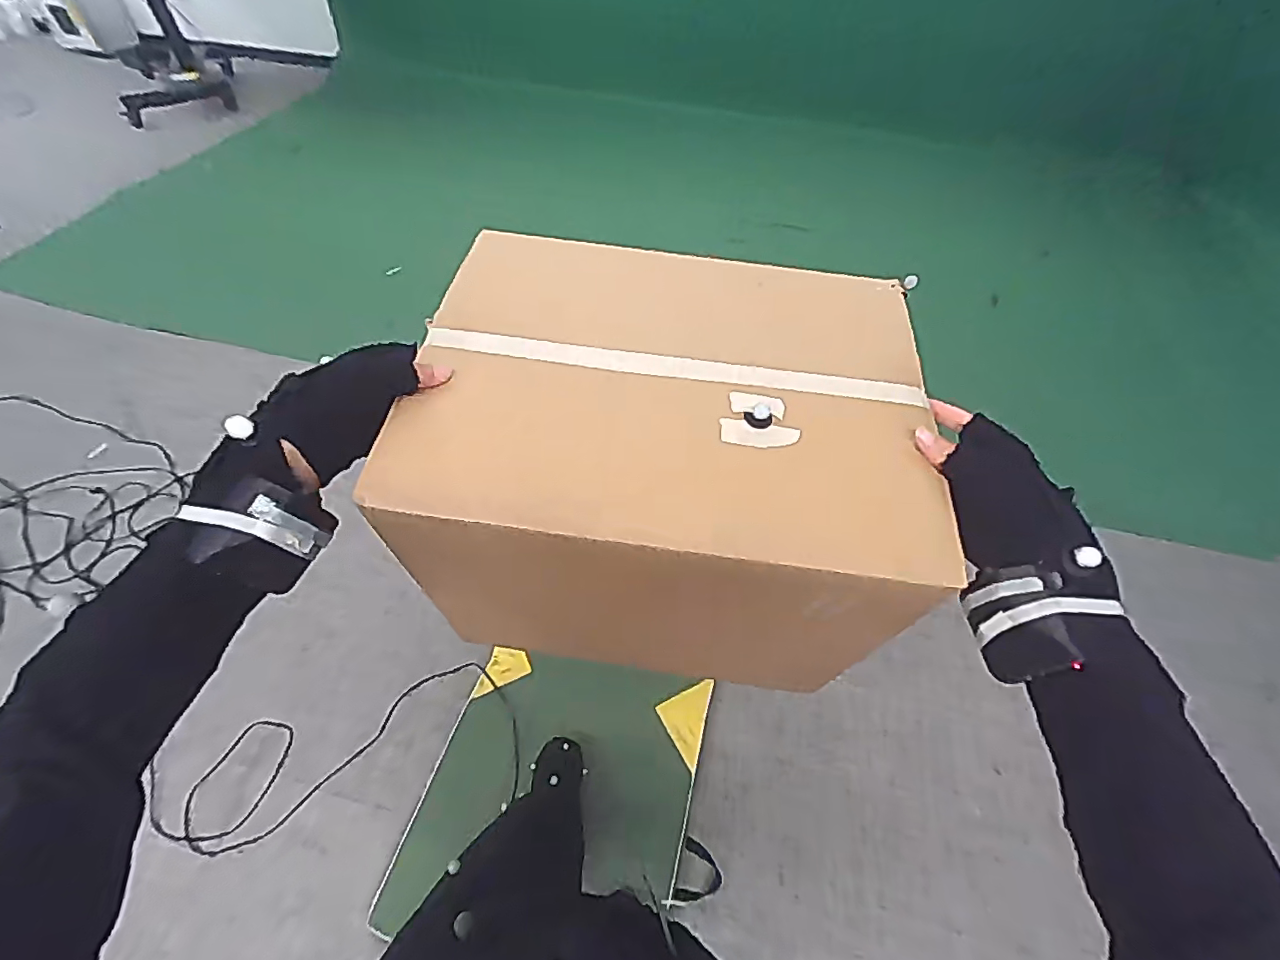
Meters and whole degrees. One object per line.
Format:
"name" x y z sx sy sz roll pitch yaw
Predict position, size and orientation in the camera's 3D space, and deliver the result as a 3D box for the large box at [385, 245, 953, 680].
"large box" 0.023 -0.002 0.574 0.408 0.320 0.320 8 57 0
